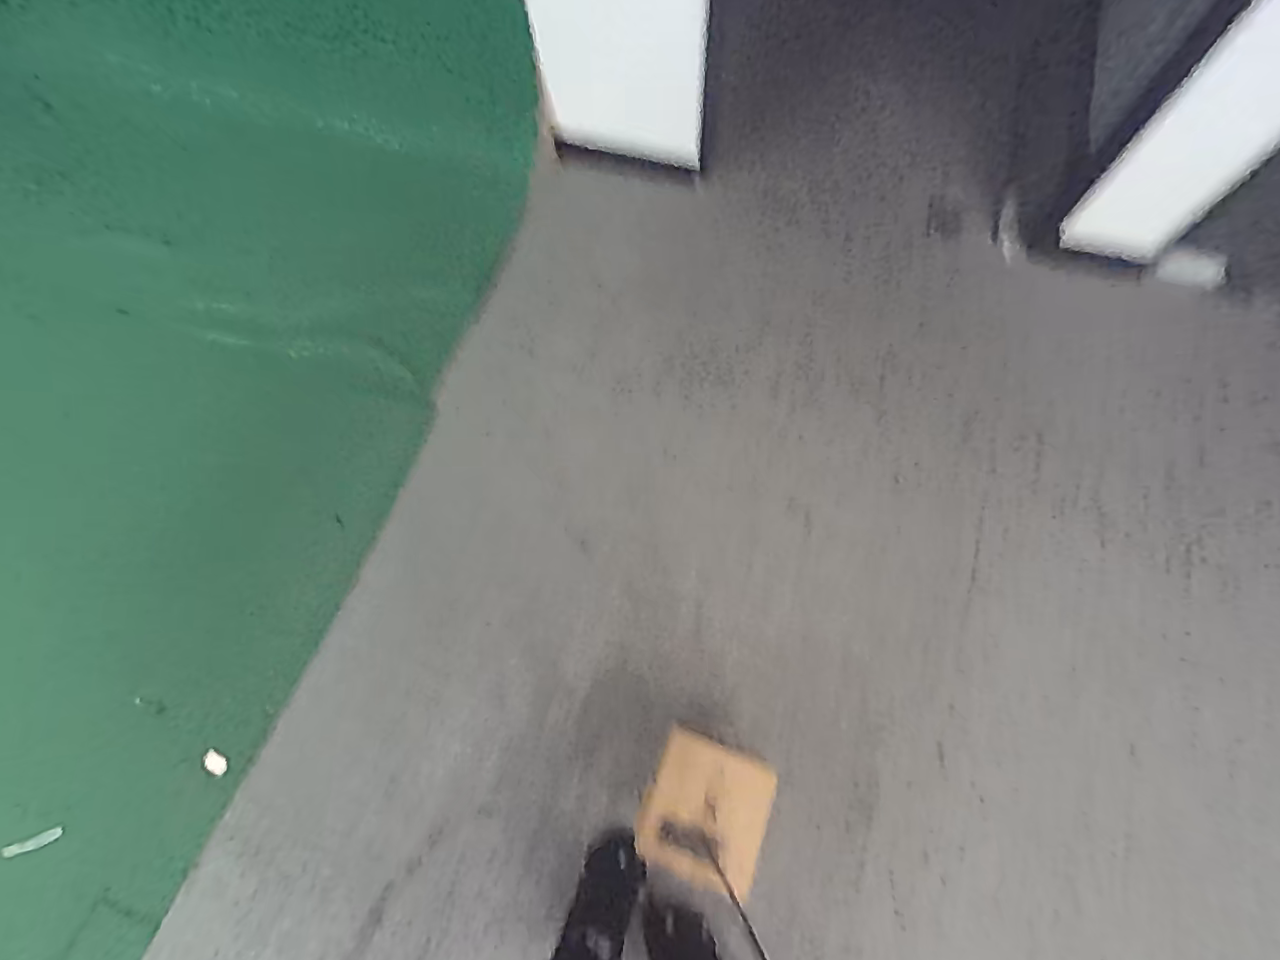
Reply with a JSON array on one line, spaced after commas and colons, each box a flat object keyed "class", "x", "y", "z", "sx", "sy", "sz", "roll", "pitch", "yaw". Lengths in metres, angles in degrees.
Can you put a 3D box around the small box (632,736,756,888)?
[{"class": "small box", "x": 0.096, "y": 0.601, "z": 1.009, "sx": 0.168, "sy": 0.176, "sz": 0.179, "roll": 24, "pitch": 71, "yaw": 11}]
